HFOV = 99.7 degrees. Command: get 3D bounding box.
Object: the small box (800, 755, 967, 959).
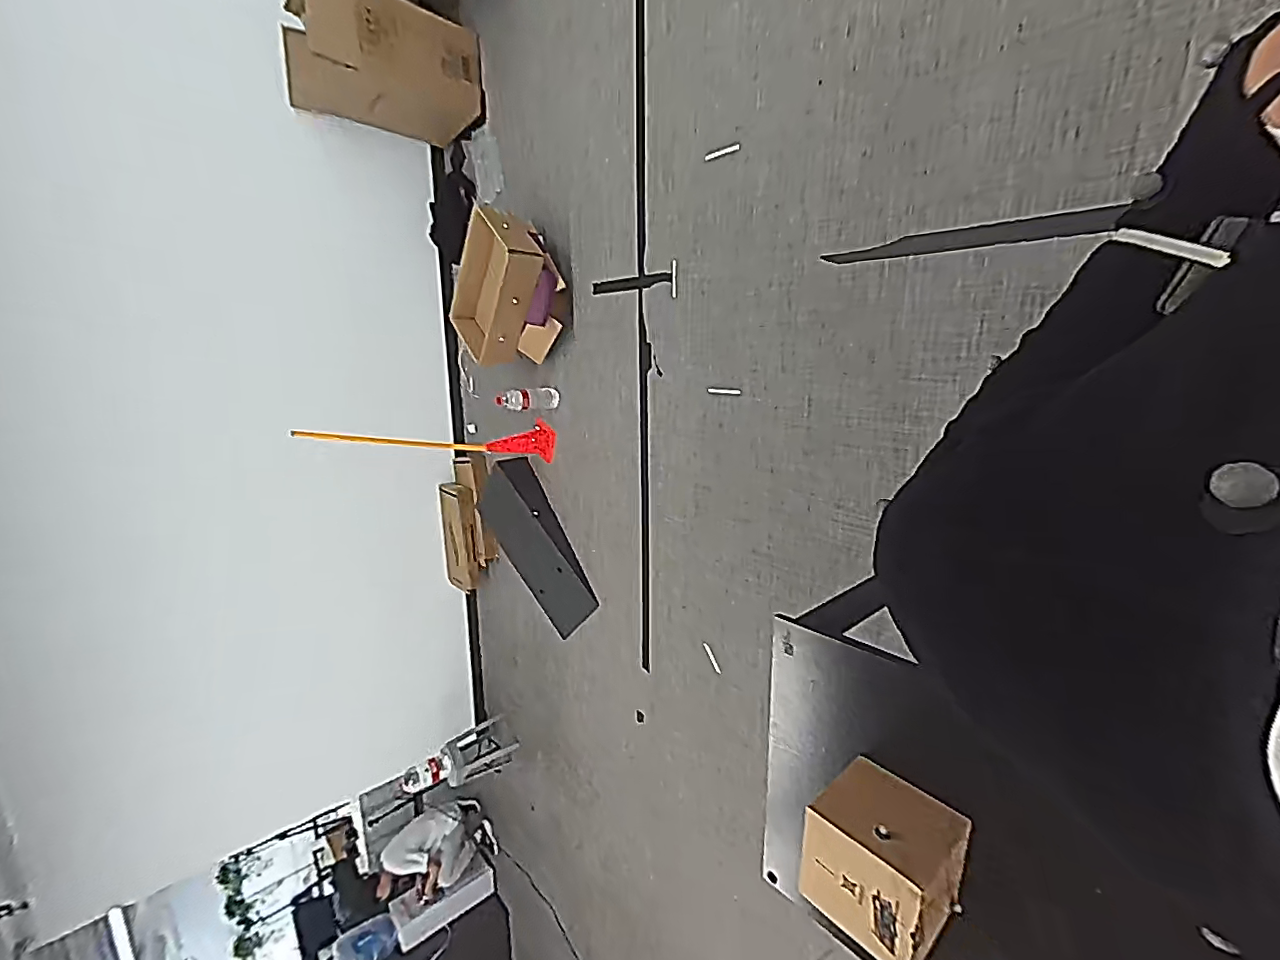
[{"bbox_3d":[0.374,0.565,0.832,0.179,0.176,0.168,17,111,48],"label":"small box"}]
